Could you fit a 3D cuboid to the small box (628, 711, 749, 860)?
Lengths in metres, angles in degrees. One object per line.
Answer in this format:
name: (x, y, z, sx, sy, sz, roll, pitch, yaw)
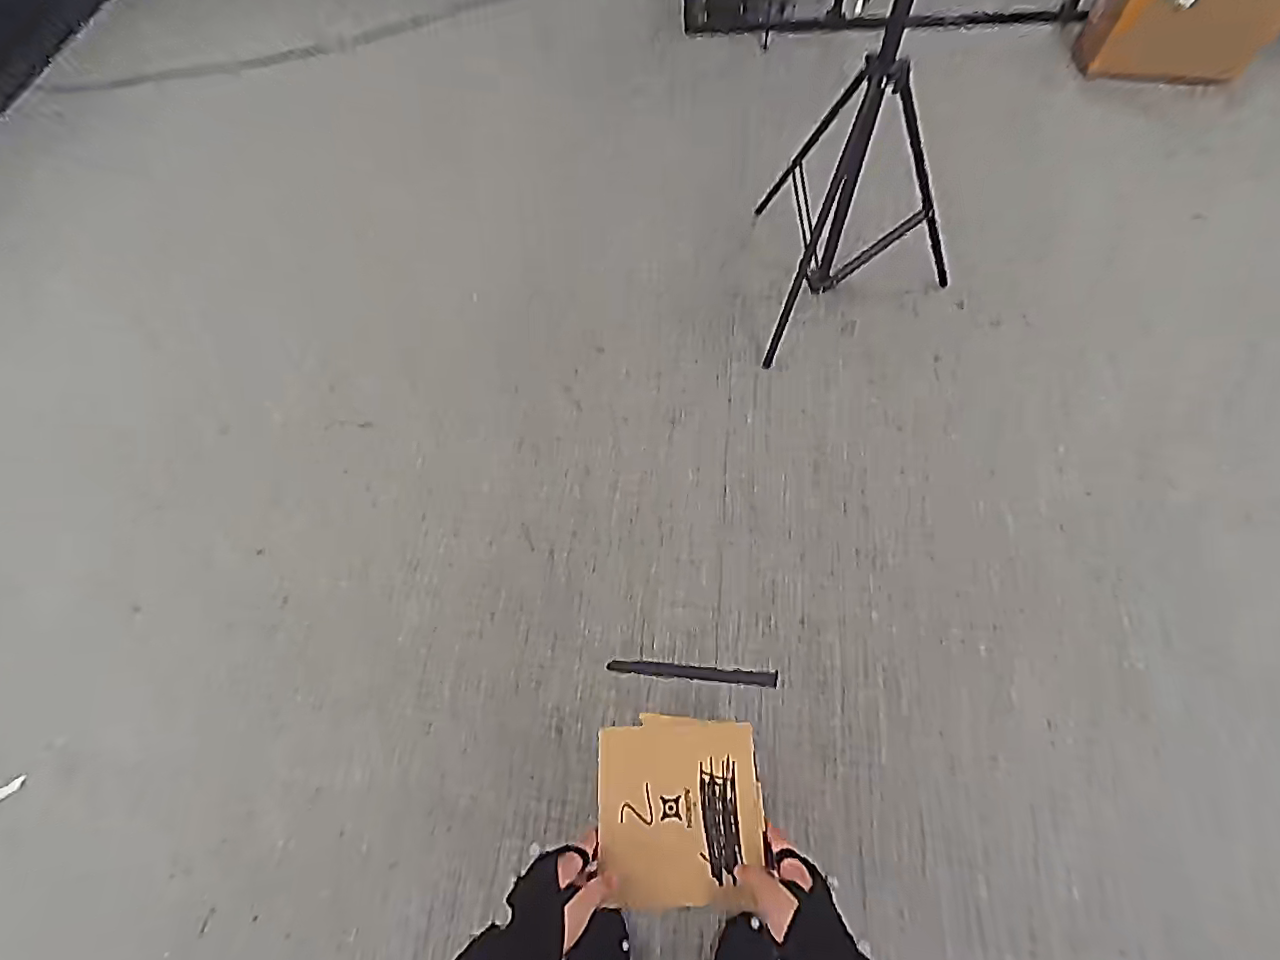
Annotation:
small box: (0.079, 0.474, 0.862, 0.168, 0.176, 0.179, 4, 66, 7)
